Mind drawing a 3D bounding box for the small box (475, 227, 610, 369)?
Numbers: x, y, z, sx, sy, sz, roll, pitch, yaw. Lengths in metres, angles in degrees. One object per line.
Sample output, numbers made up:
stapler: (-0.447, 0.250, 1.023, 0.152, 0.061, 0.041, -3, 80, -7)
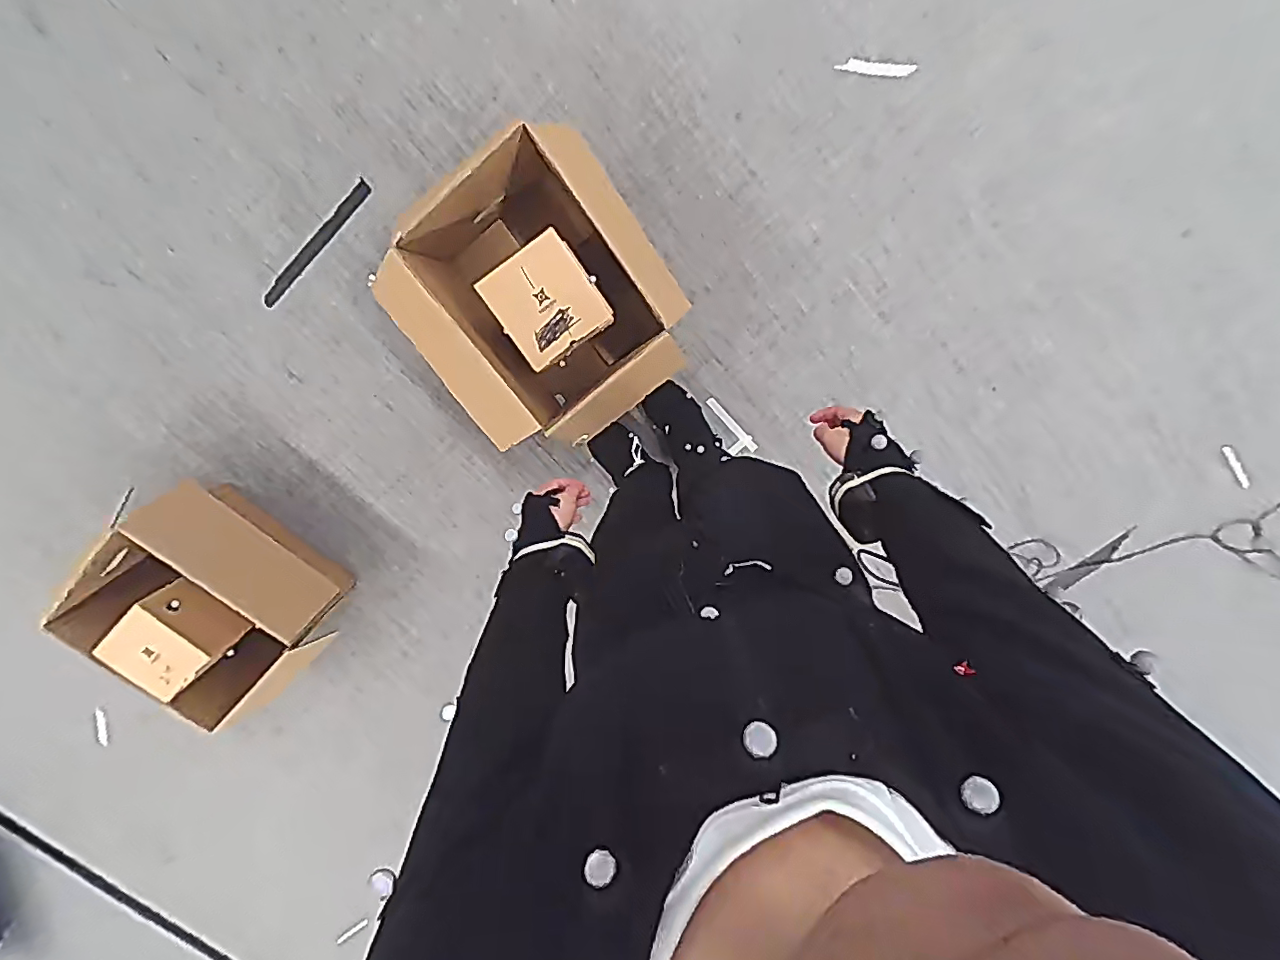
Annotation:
small box: (-0.165, -0.324, 0.988, 0.168, 0.176, 0.179, -34, 102, 6)

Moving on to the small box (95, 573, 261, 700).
small box: (-0.989, 0.327, 1.173, 0.168, 0.176, 0.179, -42, 104, 11)
